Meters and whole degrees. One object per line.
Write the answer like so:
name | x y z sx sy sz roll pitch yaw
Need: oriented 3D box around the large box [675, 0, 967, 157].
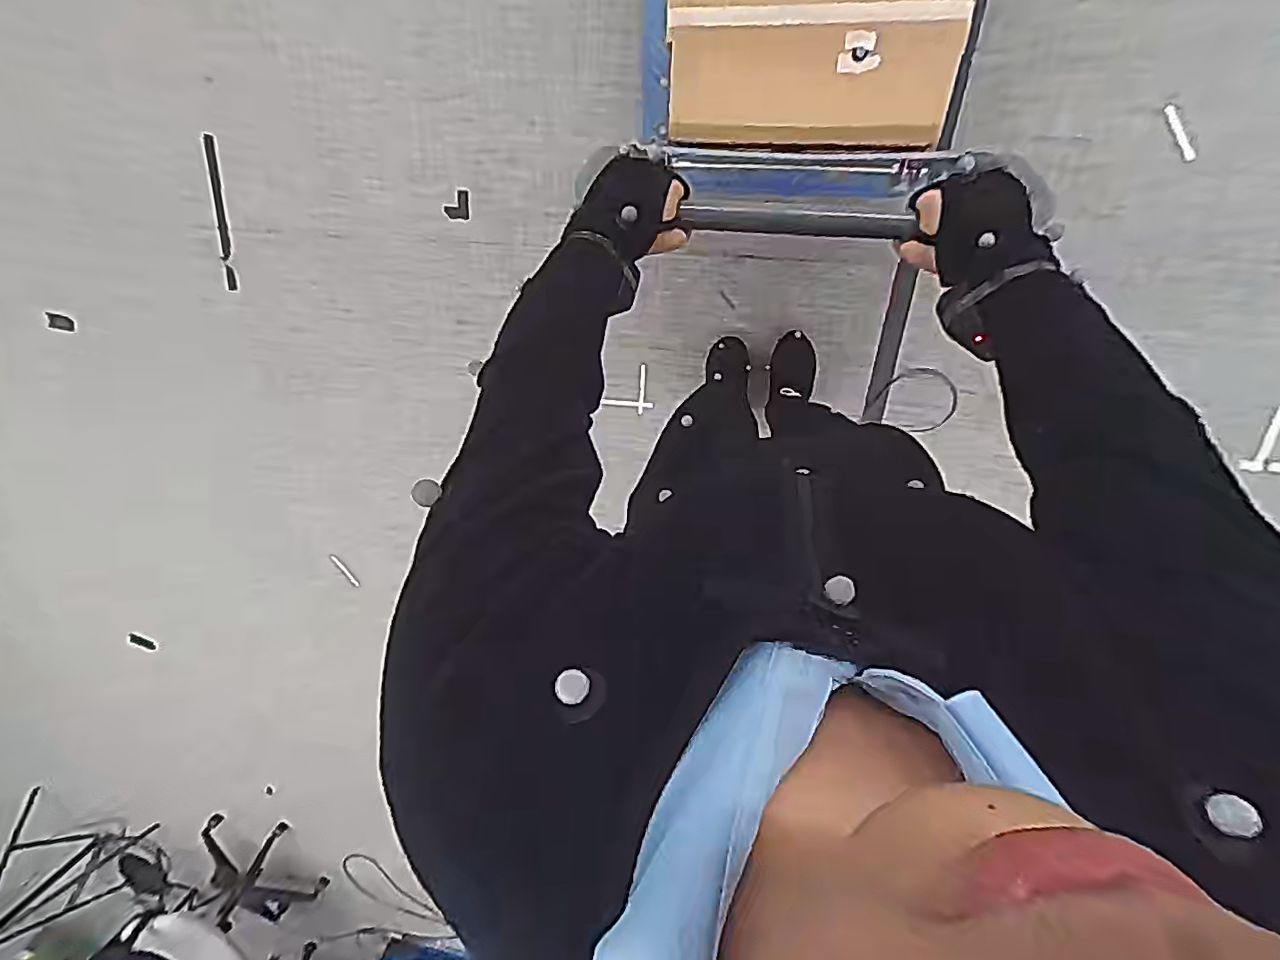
large box | 0.274 -0.728 0.898 0.408 0.320 0.320 5 119 8
